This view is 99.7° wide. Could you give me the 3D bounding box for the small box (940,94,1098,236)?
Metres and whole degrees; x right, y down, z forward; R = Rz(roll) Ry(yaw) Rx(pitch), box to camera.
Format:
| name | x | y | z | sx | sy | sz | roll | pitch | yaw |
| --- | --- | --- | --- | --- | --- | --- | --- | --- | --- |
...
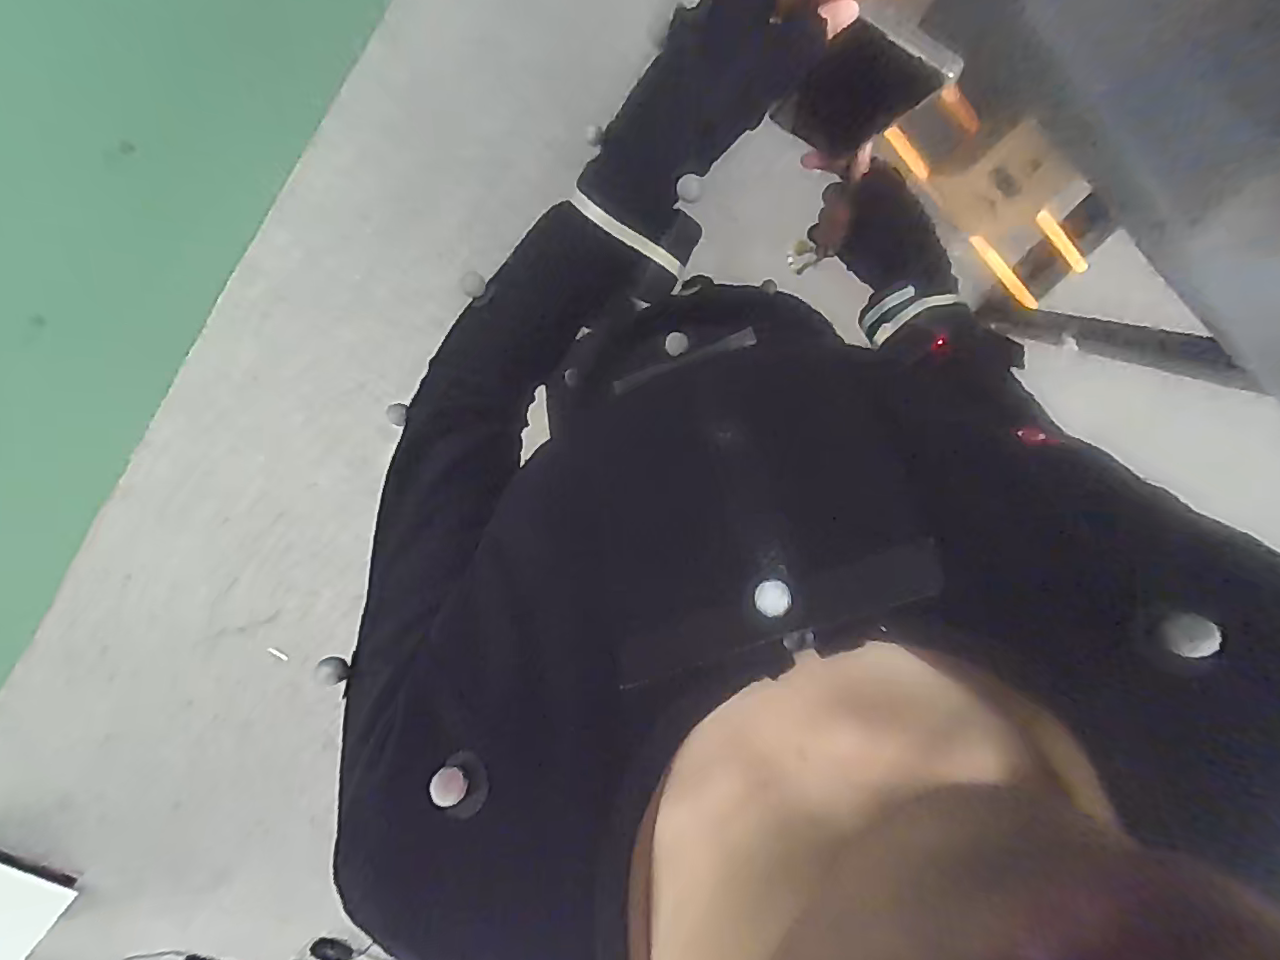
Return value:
| name | x | y | z | sx | sy | sz | roll | pitch | yaw |
| --- | --- | --- | --- | --- | --- | --- | --- | --- | --- |
| small box | 0.742 | -0.616 | 1.086 | 0.168 | 0.176 | 0.179 | 41 | 106 | -18 |
